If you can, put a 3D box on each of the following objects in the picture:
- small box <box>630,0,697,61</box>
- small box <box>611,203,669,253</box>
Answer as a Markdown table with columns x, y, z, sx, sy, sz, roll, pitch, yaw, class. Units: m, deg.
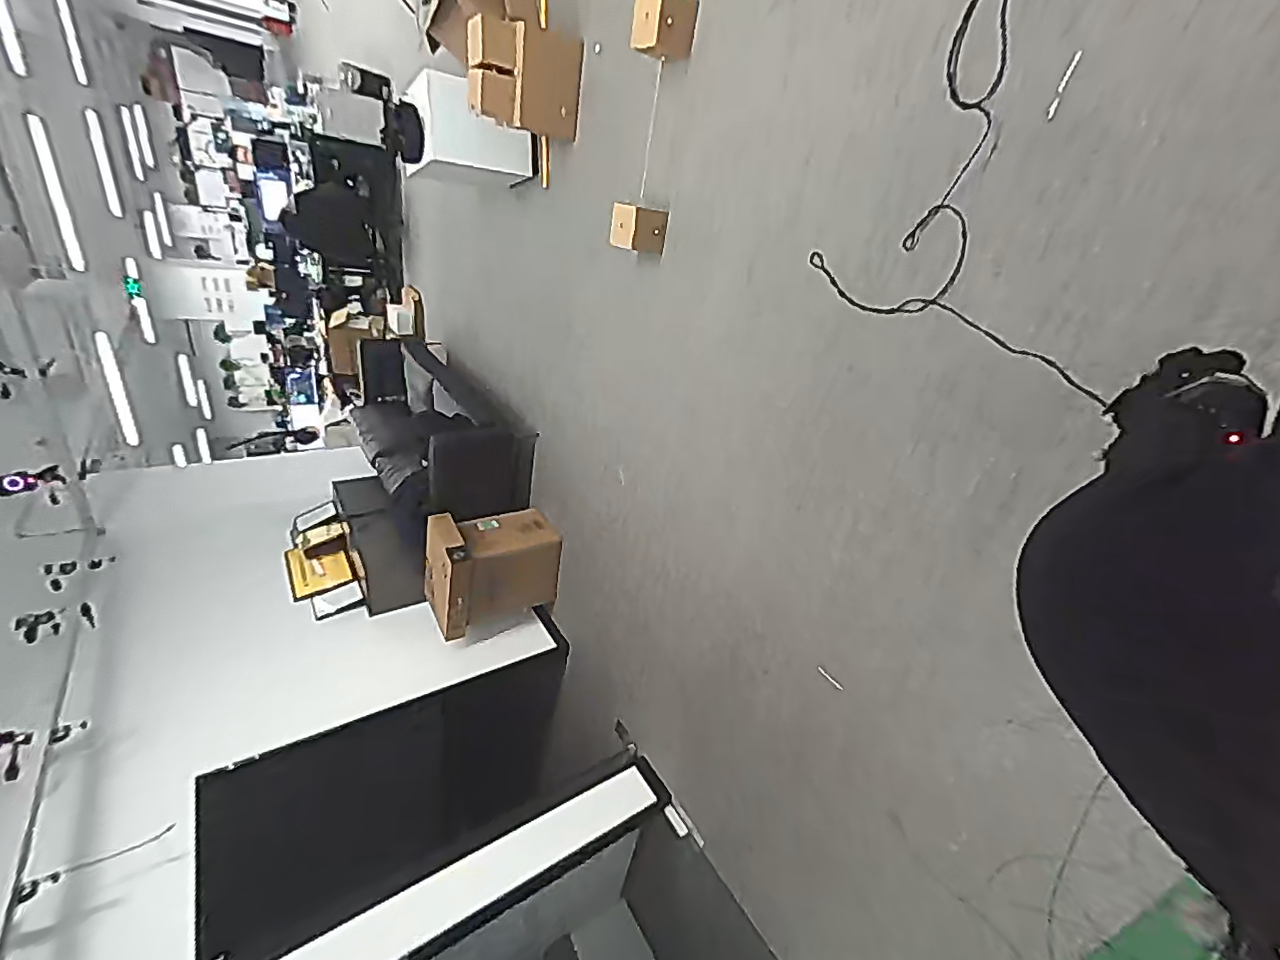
| x | y | z | sx | sy | sz | roll | pitch | yaw | class |
| --- | --- | --- | --- | --- | --- | --- | --- | --- | --- |
| 0.087 | -1.676 | 1.989 | 0.168 | 0.176 | 0.179 | 39 | 130 | 43 | small box |
| 0.000 | -1.070 | 2.298 | 0.179 | 0.176 | 0.168 | 39 | 130 | 43 | small box |
